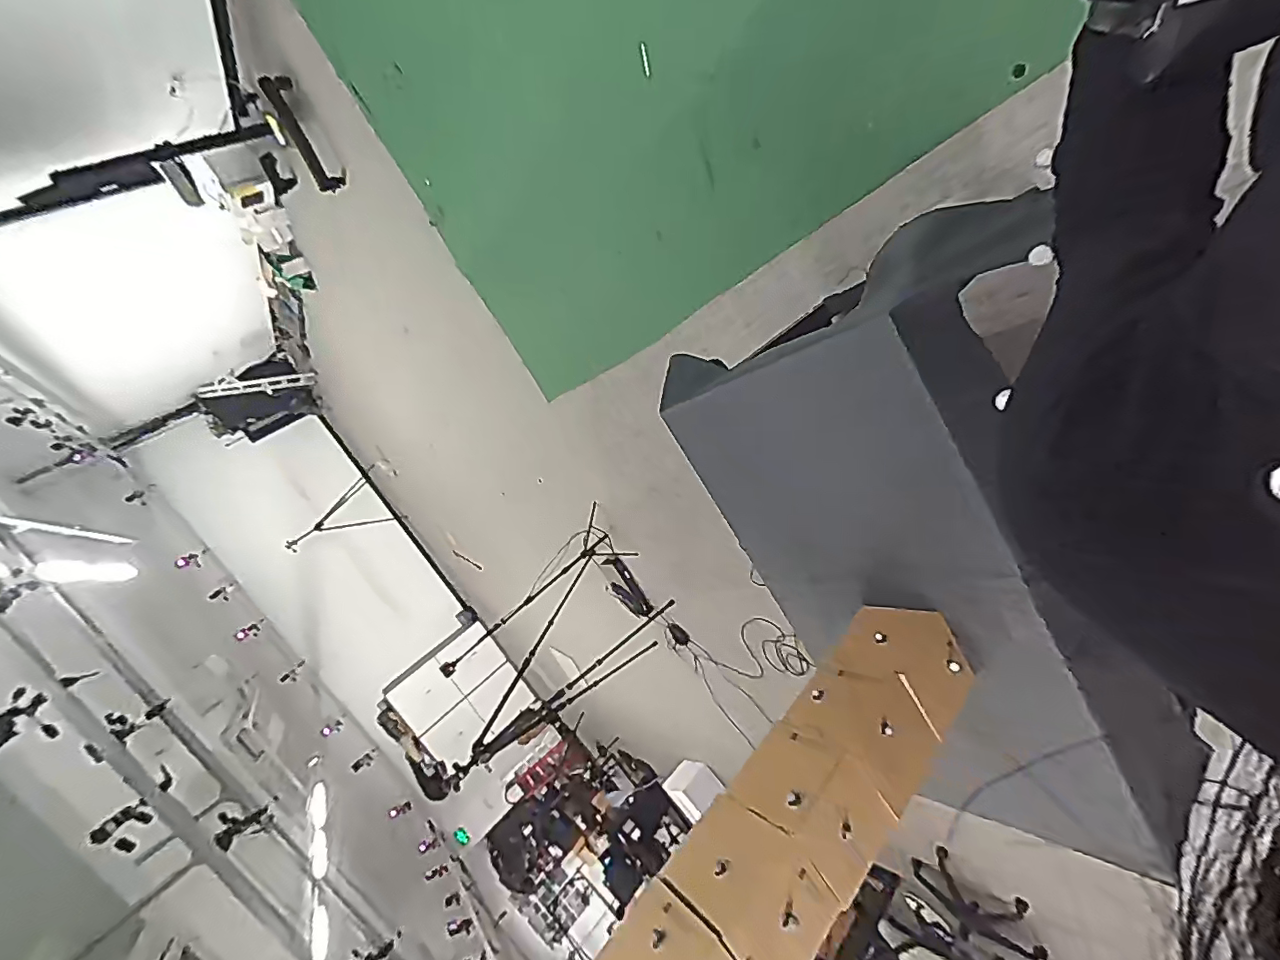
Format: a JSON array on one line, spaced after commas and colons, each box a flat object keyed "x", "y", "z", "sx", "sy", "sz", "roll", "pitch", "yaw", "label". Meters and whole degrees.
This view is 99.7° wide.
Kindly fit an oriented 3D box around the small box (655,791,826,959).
[{"x": 0.164, "y": 0.632, "z": 0.849, "sx": 0.168, "sy": 0.176, "sz": 0.179, "roll": 57, "pitch": 151, "yaw": -10, "label": "small box"}]

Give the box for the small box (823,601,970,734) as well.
[{"x": 0.506, "y": 0.357, "z": 1.067, "sx": 0.168, "sy": 0.176, "sz": 0.179, "roll": 58, "pitch": 149, "yaw": -12, "label": "small box"}]

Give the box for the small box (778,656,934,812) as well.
[{"x": 0.396, "y": 0.450, "z": 0.990, "sx": 0.179, "sy": 0.176, "sz": 0.168, "roll": 56, "pitch": 151, "yaw": -10, "label": "small box"}]

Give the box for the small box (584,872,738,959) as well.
[{"x": 0.050, "y": 0.720, "z": 0.767, "sx": 0.179, "sy": 0.176, "sz": 0.168, "roll": 57, "pitch": 151, "yaw": -11, "label": "small box"}]
